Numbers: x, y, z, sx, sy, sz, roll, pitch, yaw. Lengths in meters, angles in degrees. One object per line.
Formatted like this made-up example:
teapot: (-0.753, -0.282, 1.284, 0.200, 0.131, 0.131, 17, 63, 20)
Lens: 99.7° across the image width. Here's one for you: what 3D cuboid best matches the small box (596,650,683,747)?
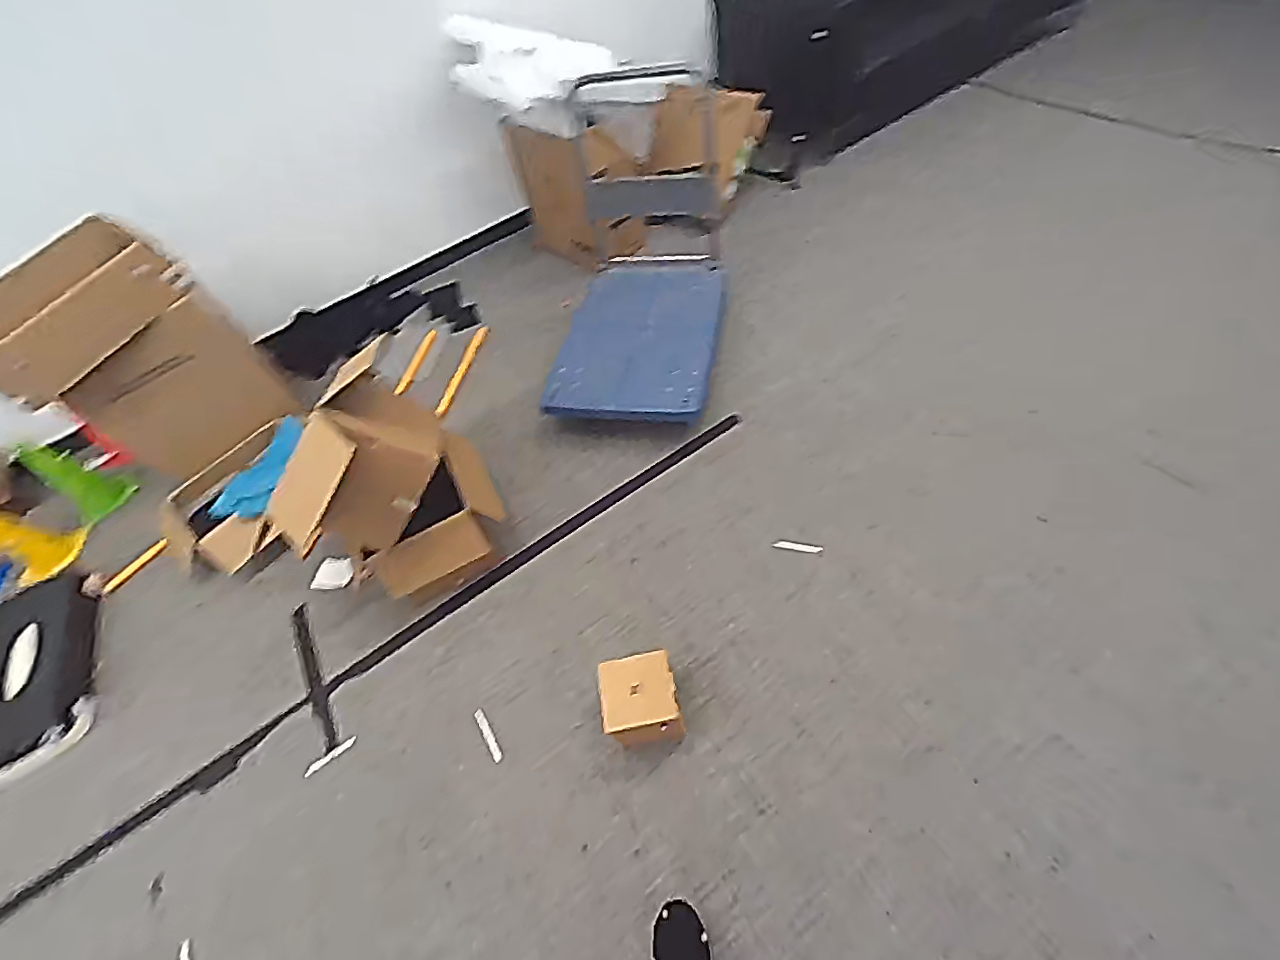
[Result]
small box: (0.000, 0.550, 1.352, 0.179, 0.176, 0.168, -13, 52, 1)
